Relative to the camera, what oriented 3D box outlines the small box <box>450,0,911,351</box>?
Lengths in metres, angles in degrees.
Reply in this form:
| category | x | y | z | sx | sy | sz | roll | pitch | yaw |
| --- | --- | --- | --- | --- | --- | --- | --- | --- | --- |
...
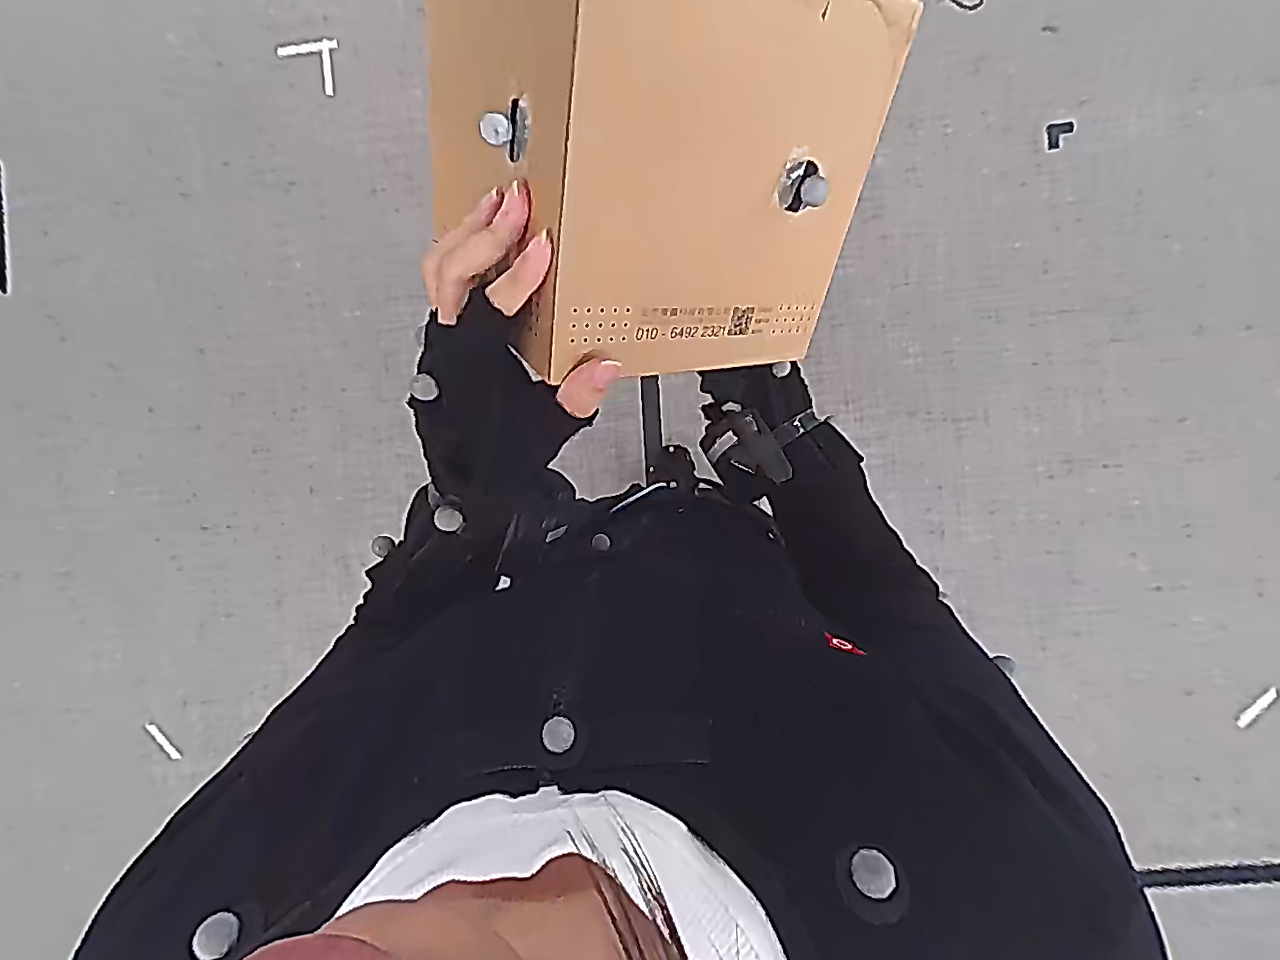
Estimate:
| category | x | y | z | sx | sy | sz | roll | pitch | yaw |
| --- | --- | --- | --- | --- | --- | --- | --- | --- | --- |
| small box | 0.001 | -0.179 | 0.306 | 0.168 | 0.179 | 0.176 | -12 | 129 | -32 |
